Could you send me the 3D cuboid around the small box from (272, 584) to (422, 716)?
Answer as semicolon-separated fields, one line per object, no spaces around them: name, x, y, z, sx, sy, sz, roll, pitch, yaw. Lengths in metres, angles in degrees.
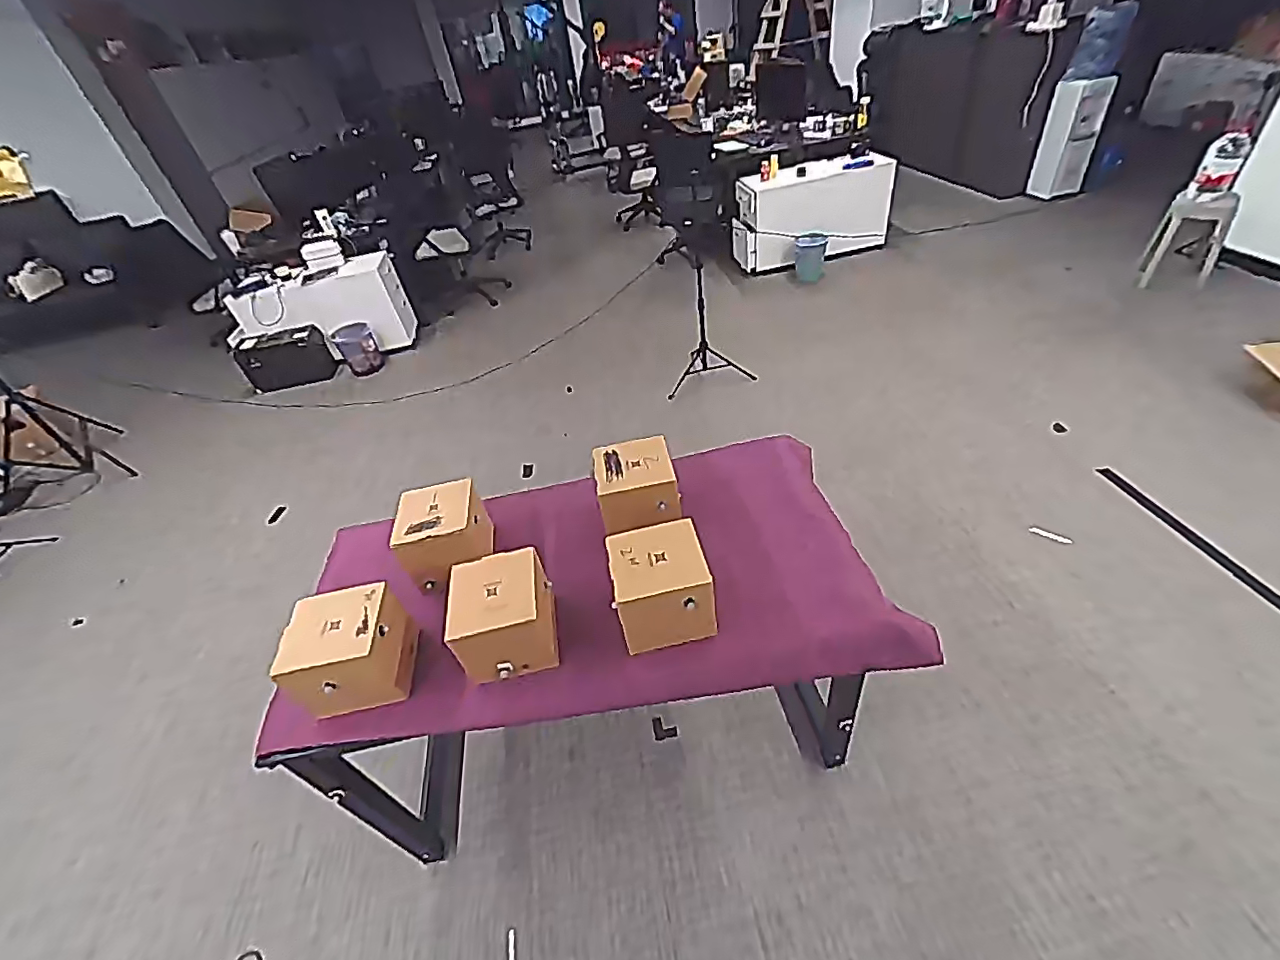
small box;-0.552;0.332;1.045;0.179;0.176;0.168;-13;41;-1

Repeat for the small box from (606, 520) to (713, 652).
small box;0.040;0.208;1.054;0.179;0.176;0.168;-13;40;-2

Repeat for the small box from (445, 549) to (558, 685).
small box;-0.263;0.268;1.058;0.168;0.176;0.179;-14;43;-2

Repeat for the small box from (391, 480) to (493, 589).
small box;-0.447;0.133;1.251;0.168;0.176;0.179;-13;41;-3
